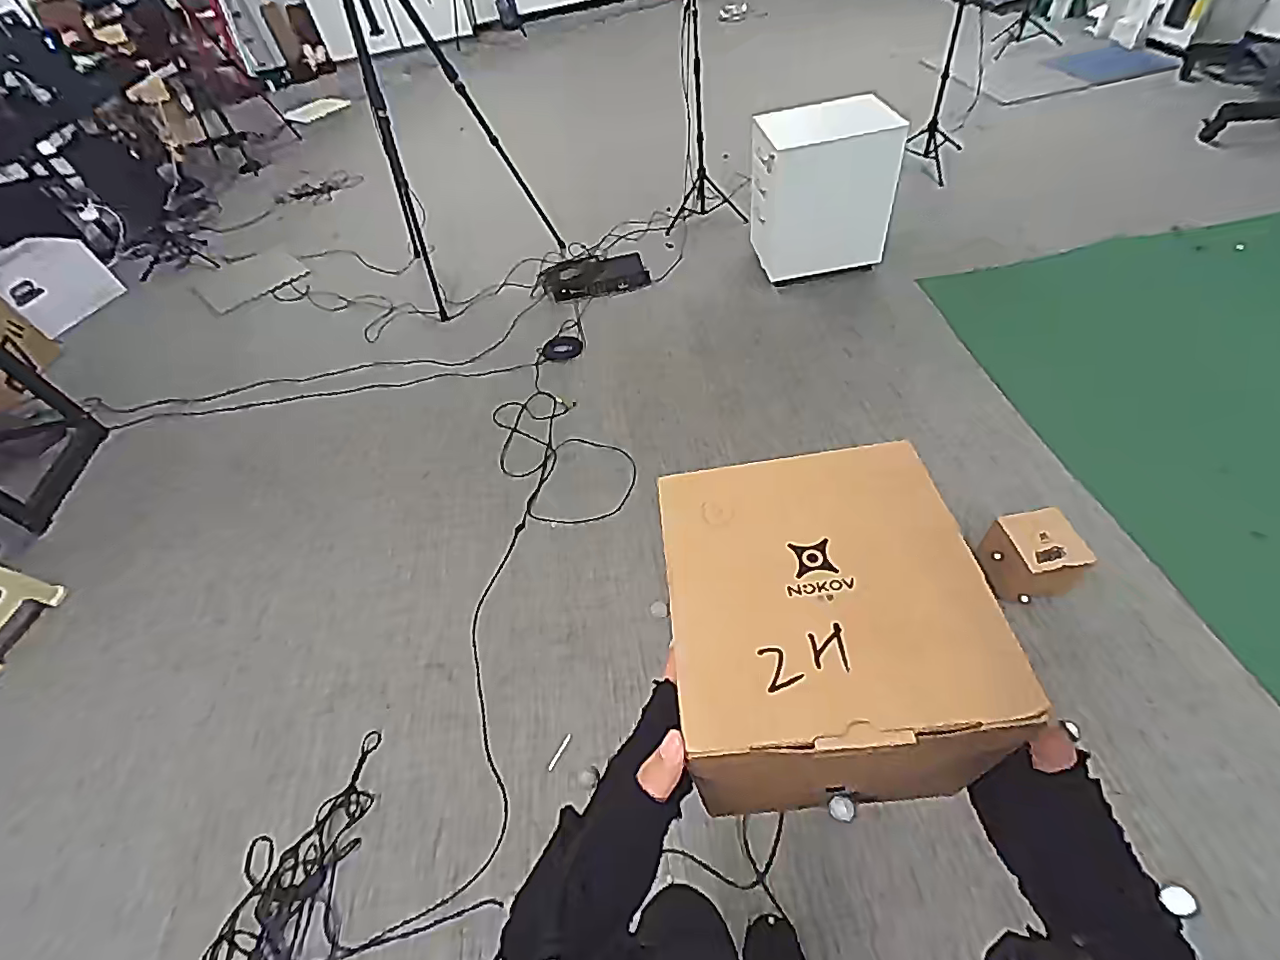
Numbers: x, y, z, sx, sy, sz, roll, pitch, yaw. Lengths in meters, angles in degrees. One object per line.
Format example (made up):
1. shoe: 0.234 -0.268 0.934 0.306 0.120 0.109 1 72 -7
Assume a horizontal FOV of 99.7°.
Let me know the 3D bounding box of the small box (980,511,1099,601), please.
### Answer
1. small box: 1.057 0.211 1.450 0.168 0.176 0.179 -10 49 2
